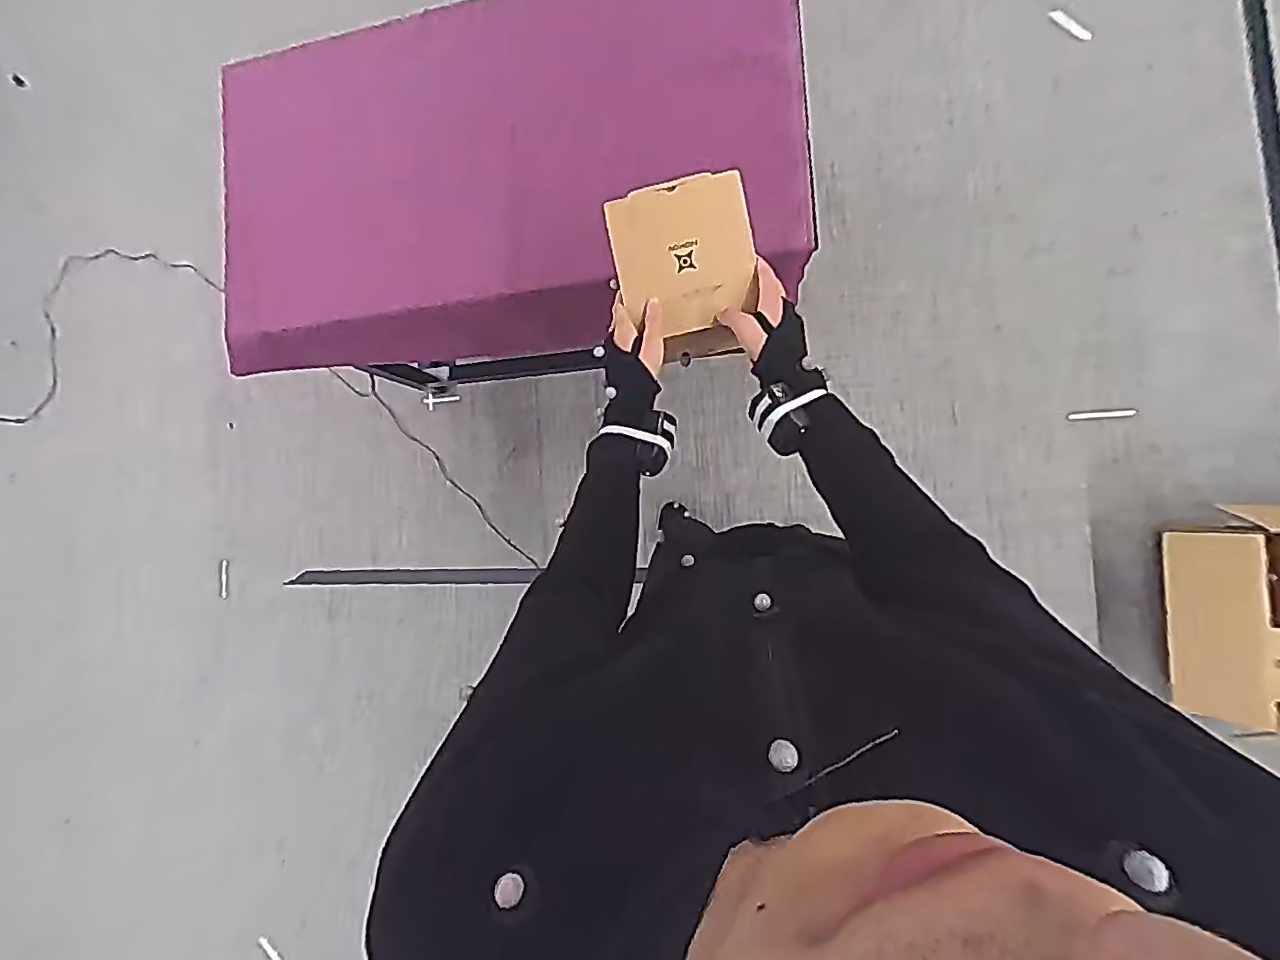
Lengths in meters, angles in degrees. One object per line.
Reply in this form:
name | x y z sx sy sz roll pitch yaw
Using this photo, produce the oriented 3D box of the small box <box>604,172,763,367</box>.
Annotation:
small box | 0.056 -0.265 0.720 0.168 0.176 0.179 -11 90 5
